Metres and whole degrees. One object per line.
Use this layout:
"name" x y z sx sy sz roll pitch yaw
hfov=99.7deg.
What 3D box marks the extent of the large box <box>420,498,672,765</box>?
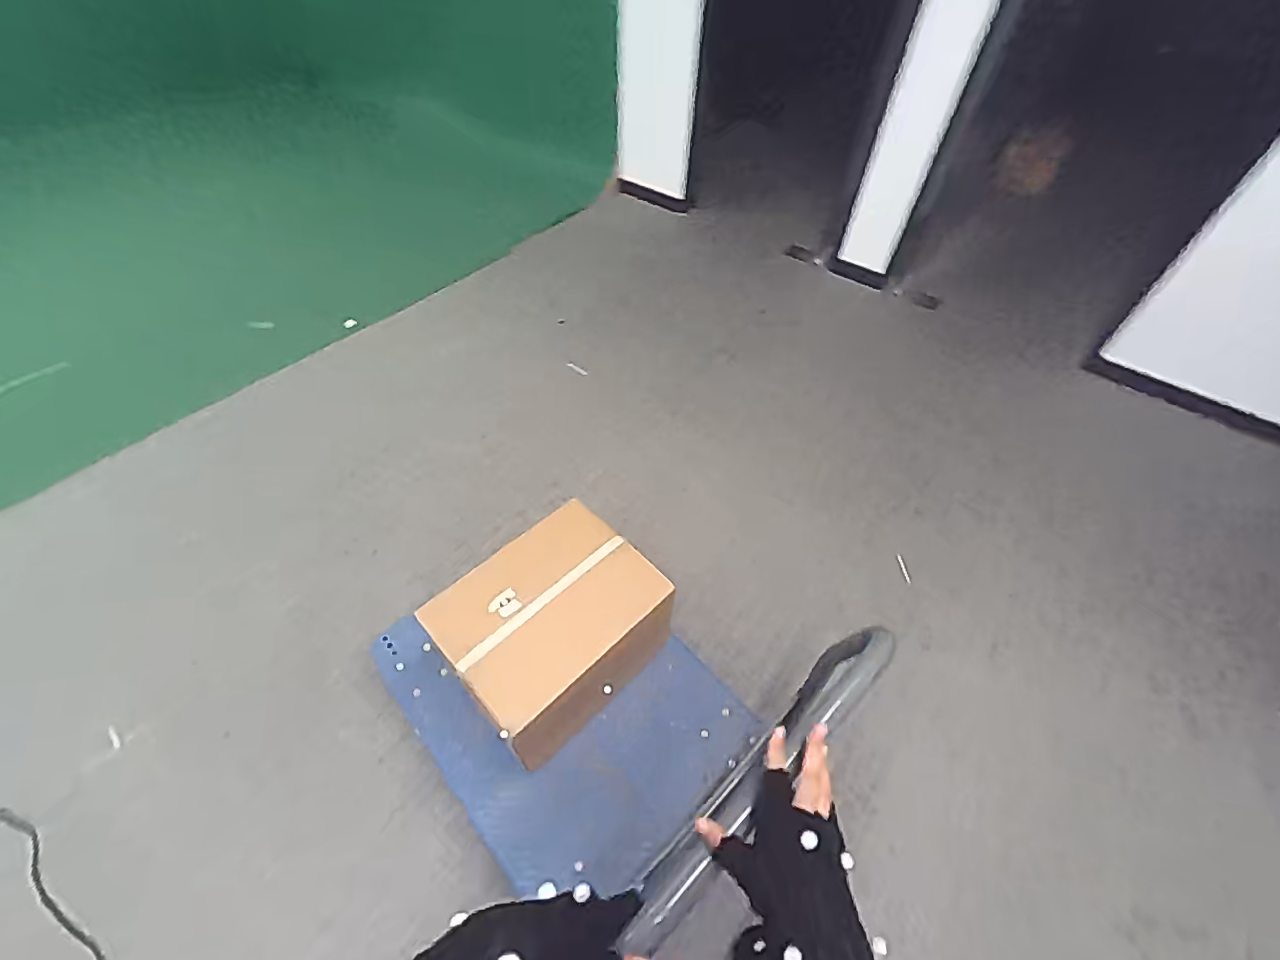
"large box" -0.180 0.322 1.171 0.408 0.320 0.320 -37 61 -26
